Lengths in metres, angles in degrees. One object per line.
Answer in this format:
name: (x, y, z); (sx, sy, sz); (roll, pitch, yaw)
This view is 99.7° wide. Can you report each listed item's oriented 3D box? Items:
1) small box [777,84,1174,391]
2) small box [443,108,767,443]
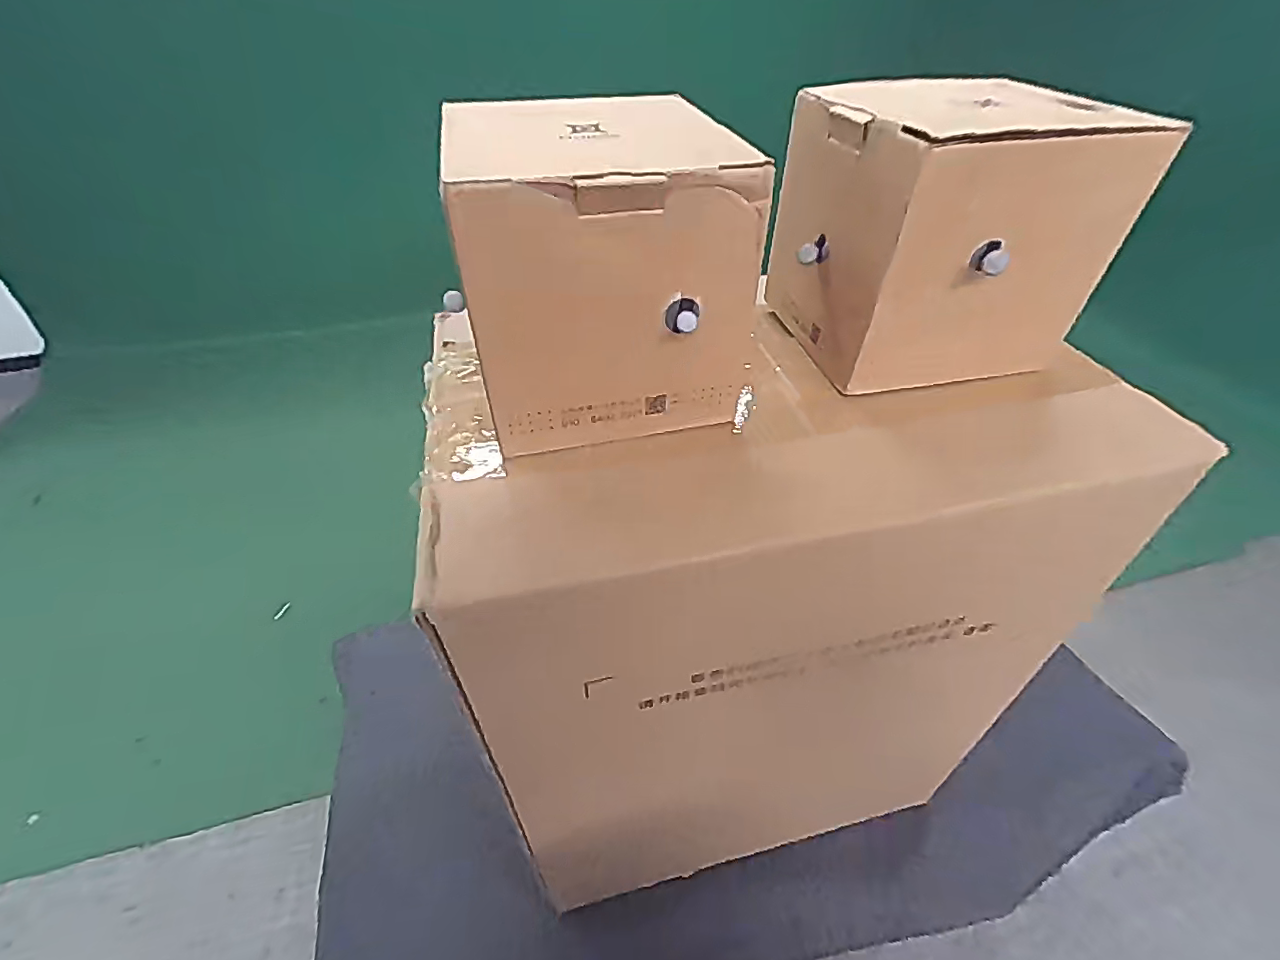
small box: (0.218, -0.185, 0.417); (0.179, 0.176, 0.168); (-10, 45, -8)
small box: (-0.031, -0.139, 0.374); (0.168, 0.176, 0.179); (-9, 44, -11)
